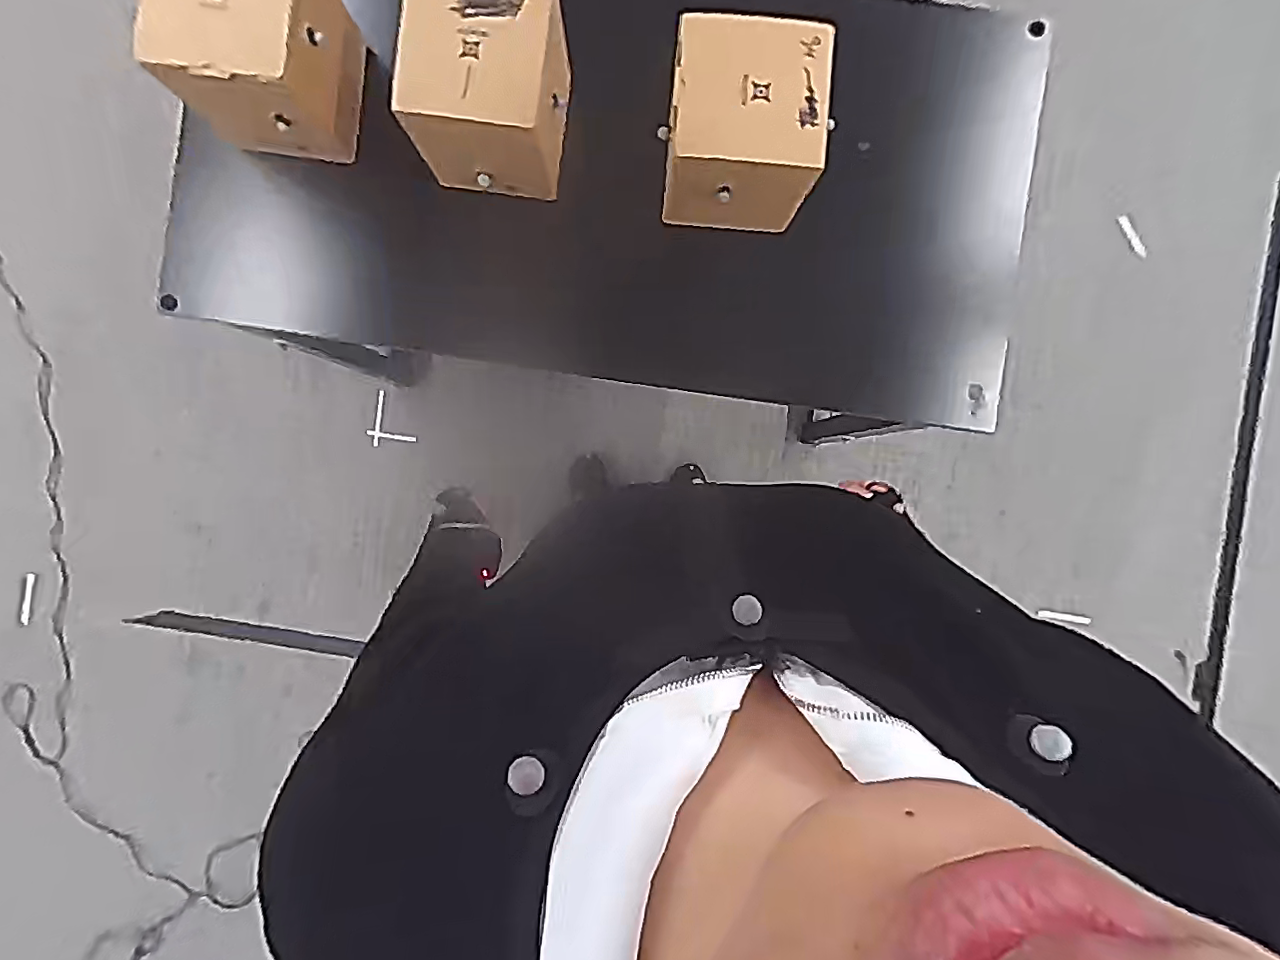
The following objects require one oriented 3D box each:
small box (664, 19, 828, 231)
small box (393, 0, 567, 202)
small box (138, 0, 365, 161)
[{"bbox_3d":[0.124,-0.442,0.699,0.179,0.176,0.168,4,91,0],"label":"small box"},{"bbox_3d":[-0.190,-0.492,0.692,0.168,0.176,0.179,7,91,-1],"label":"small box"},{"bbox_3d":[-0.473,-0.541,0.686,0.168,0.176,0.179,6,90,-3],"label":"small box"}]
